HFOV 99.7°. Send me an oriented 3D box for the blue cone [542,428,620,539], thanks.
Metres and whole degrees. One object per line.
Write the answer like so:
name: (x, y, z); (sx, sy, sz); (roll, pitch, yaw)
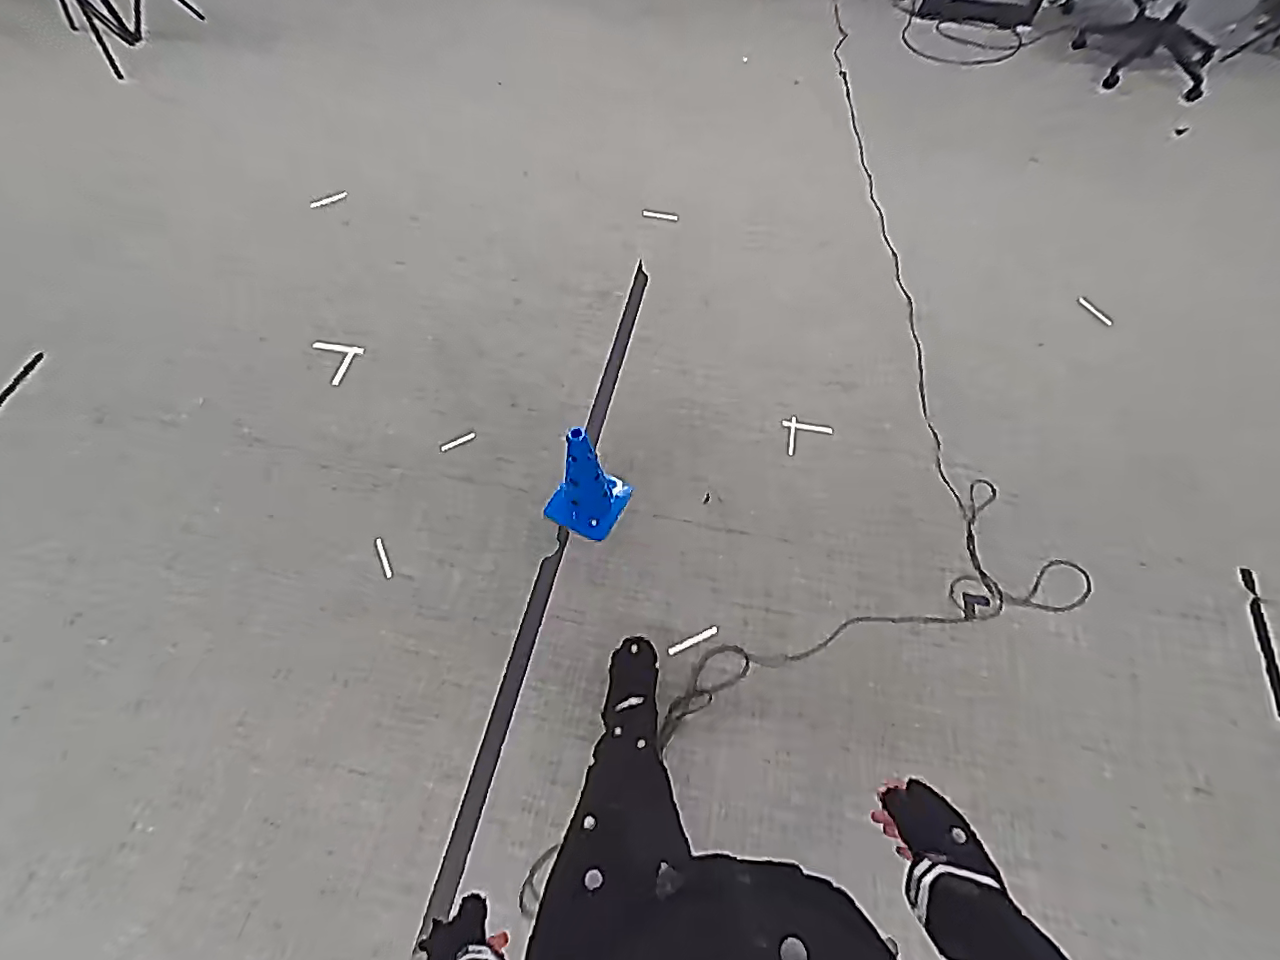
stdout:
blue cone: (-0.167, -0.013, 1.407); (0.192, 0.380, 0.193); (26, 64, 13)
